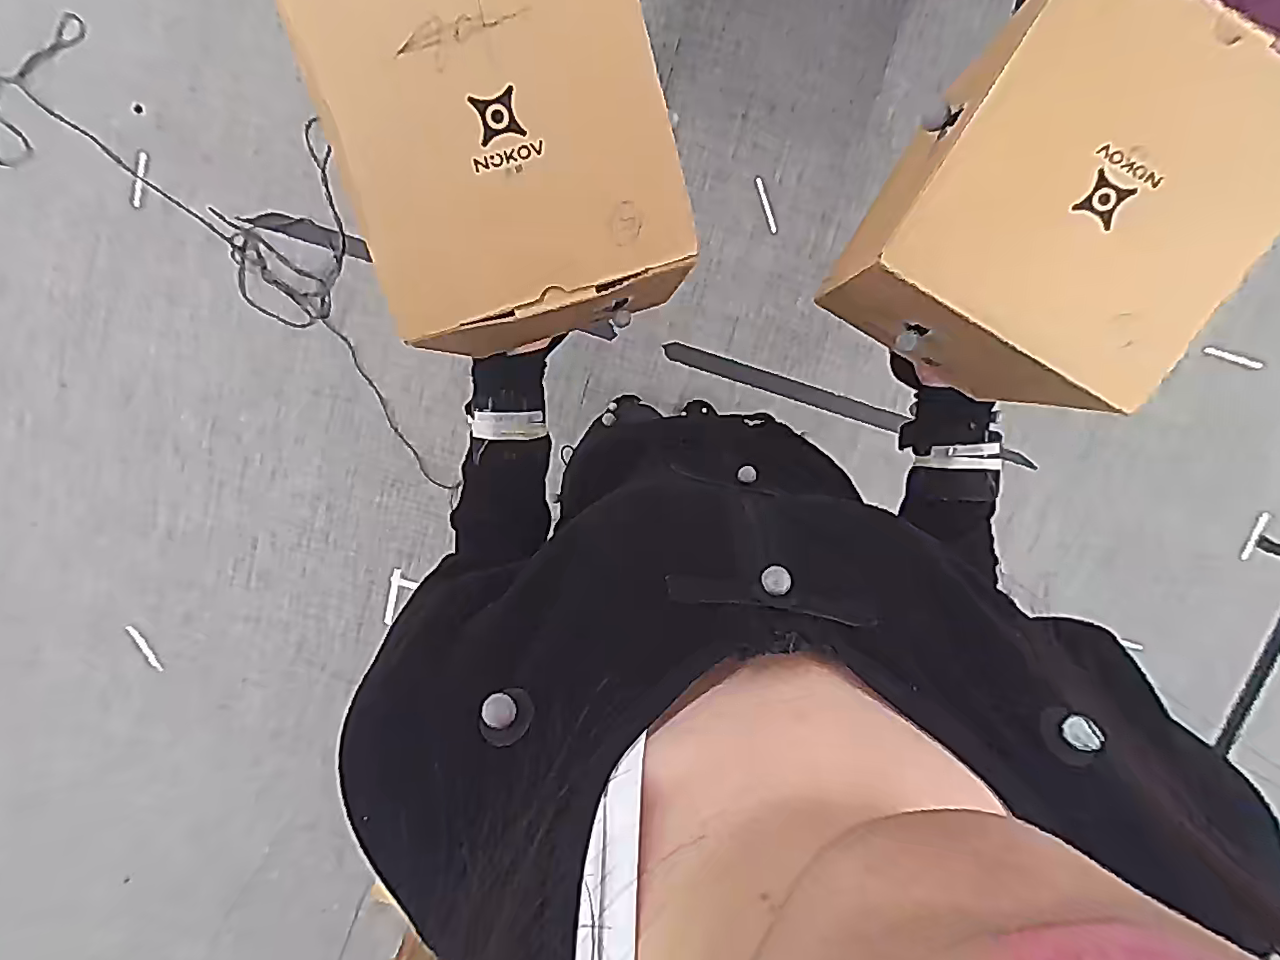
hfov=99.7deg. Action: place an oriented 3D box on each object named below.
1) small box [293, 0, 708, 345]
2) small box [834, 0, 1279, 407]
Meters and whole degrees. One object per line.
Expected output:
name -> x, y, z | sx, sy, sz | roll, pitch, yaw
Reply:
small box -> -0.068, -0.191, 0.345 | 0.168, 0.176, 0.179 | -17, 101, -1
small box -> 0.252, -0.166, 0.357 | 0.168, 0.176, 0.179 | 31, 101, -1
